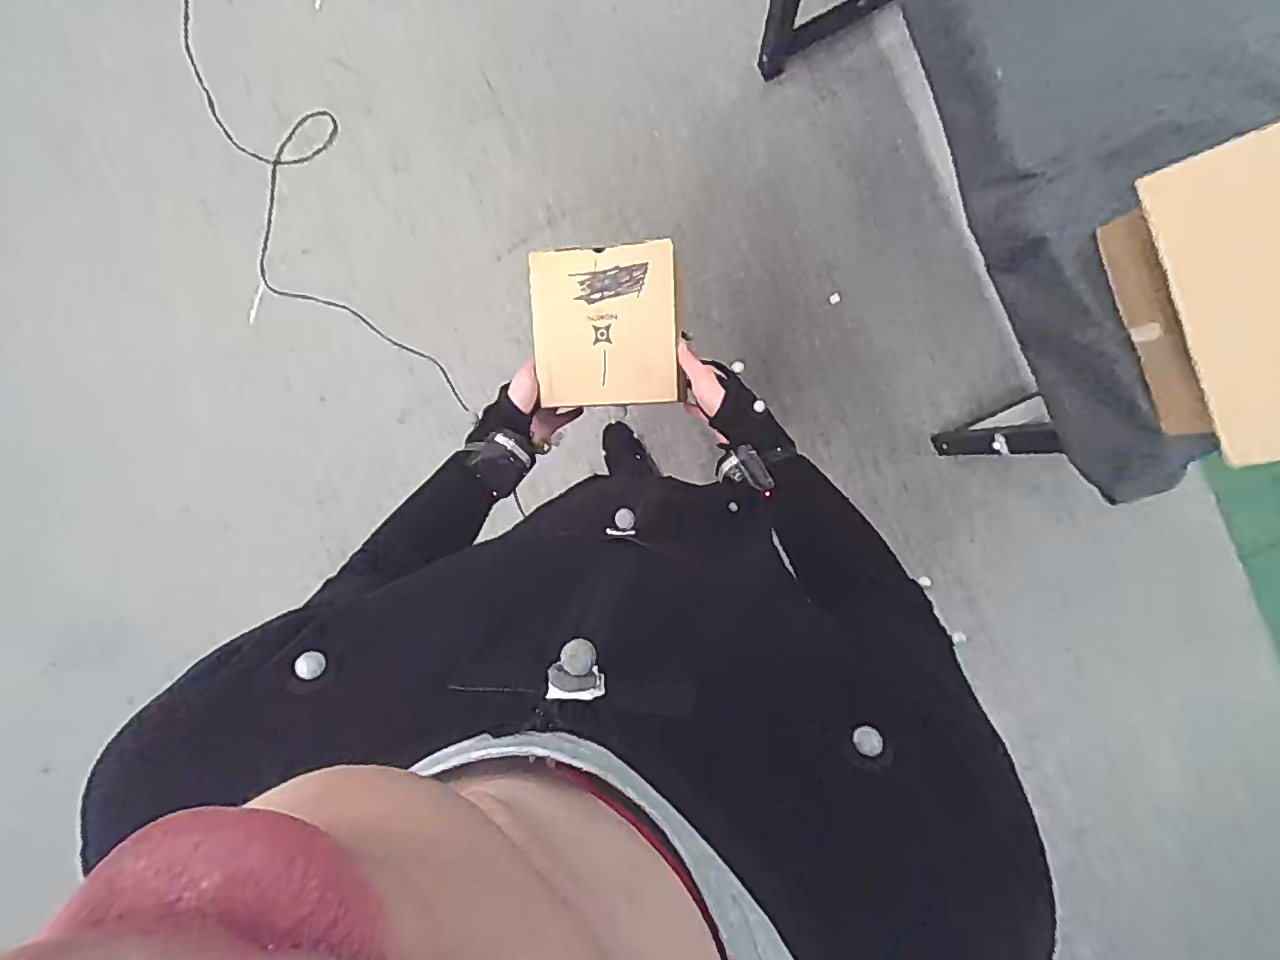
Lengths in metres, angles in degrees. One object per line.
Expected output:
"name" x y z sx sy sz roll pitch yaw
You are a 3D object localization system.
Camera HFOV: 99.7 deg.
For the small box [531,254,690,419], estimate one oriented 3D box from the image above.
"small box" -0.028 -0.169 0.680 0.168 0.176 0.179 0 101 10
